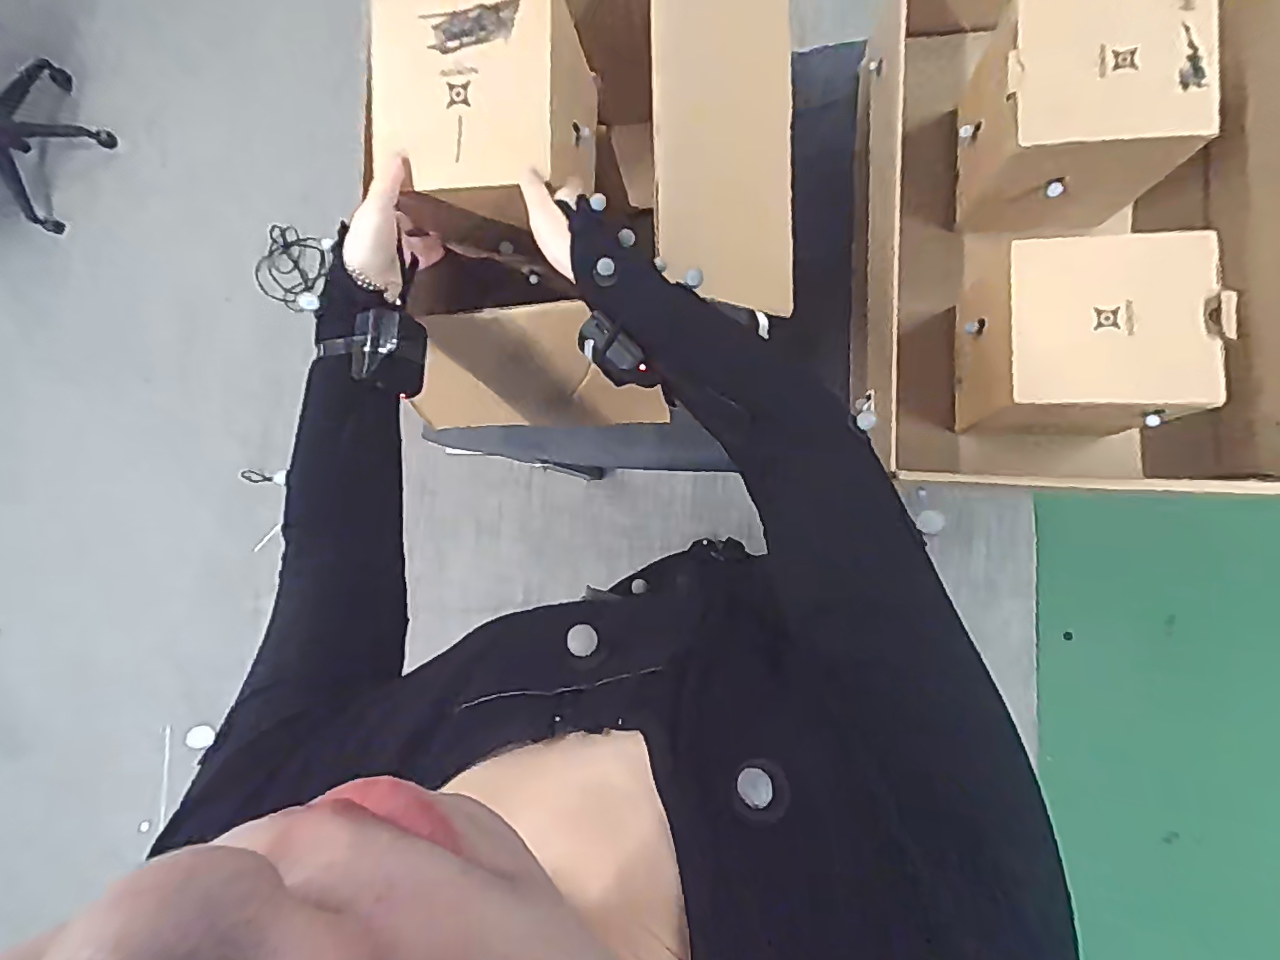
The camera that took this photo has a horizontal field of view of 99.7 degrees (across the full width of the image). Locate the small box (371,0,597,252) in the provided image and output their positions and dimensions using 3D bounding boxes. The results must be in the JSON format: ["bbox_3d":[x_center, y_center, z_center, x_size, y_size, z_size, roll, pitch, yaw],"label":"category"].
[{"bbox_3d":[-0.142,-0.347,0.541,0.168,0.176,0.179,1,96,8],"label":"small box"}]
